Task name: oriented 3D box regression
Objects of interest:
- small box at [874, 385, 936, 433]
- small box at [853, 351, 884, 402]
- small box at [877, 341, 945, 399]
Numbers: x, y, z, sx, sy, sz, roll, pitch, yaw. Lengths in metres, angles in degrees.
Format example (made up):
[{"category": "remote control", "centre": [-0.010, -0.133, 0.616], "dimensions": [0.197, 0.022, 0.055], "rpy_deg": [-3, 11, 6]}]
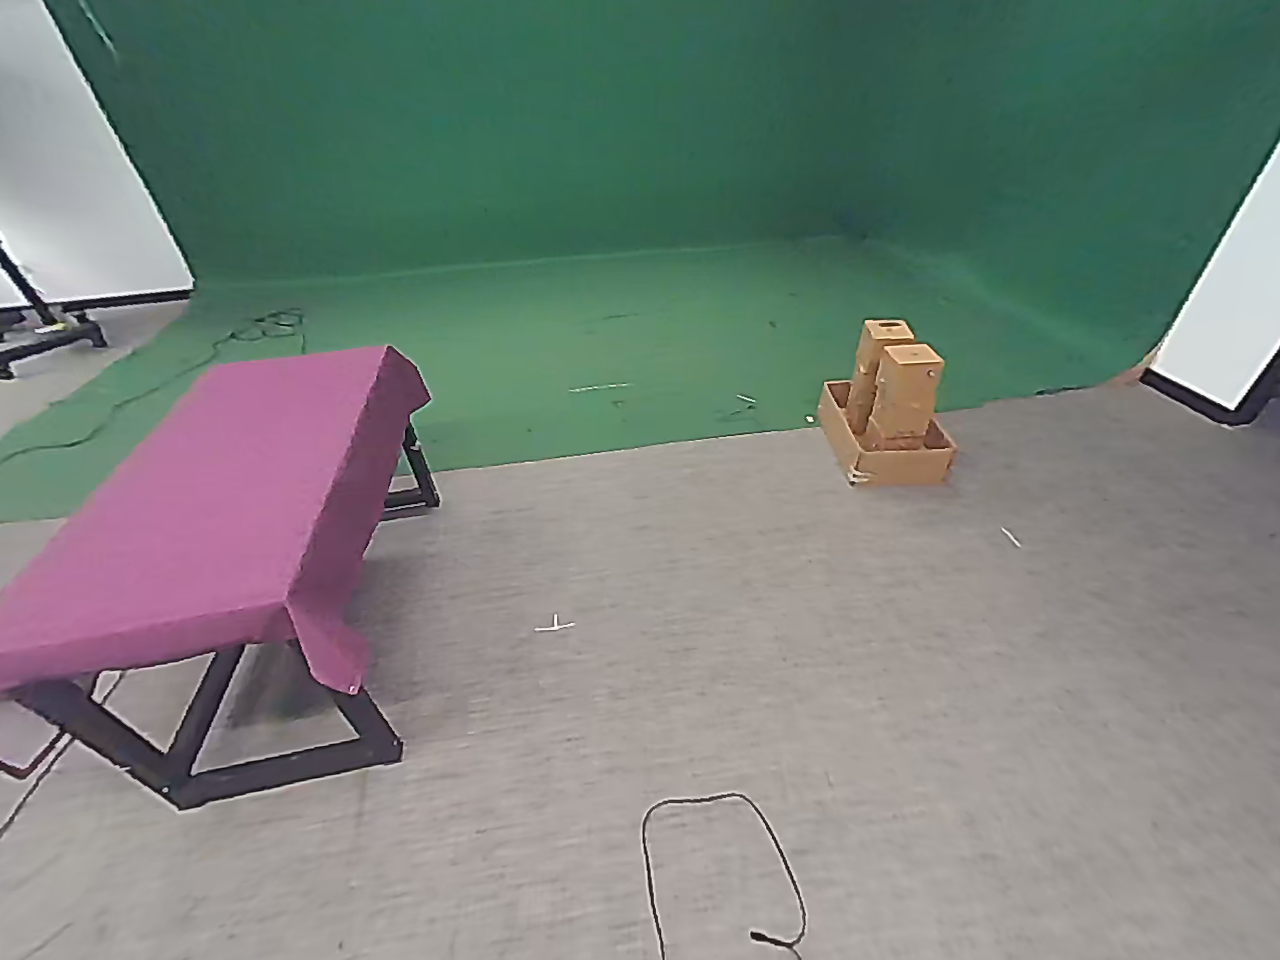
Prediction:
[{"category": "small box", "centre": [1.100, -0.306, 2.259], "dimensions": [0.168, 0.176, 0.179], "rpy_deg": [-4, 37, 2]}, {"category": "small box", "centre": [1.078, -0.471, 2.469], "dimensions": [0.168, 0.176, 0.179], "rpy_deg": [3, 42, 11]}, {"category": "small box", "centre": [1.076, -0.438, 2.163], "dimensions": [0.179, 0.176, 0.168], "rpy_deg": [-4, 38, 2]}]
